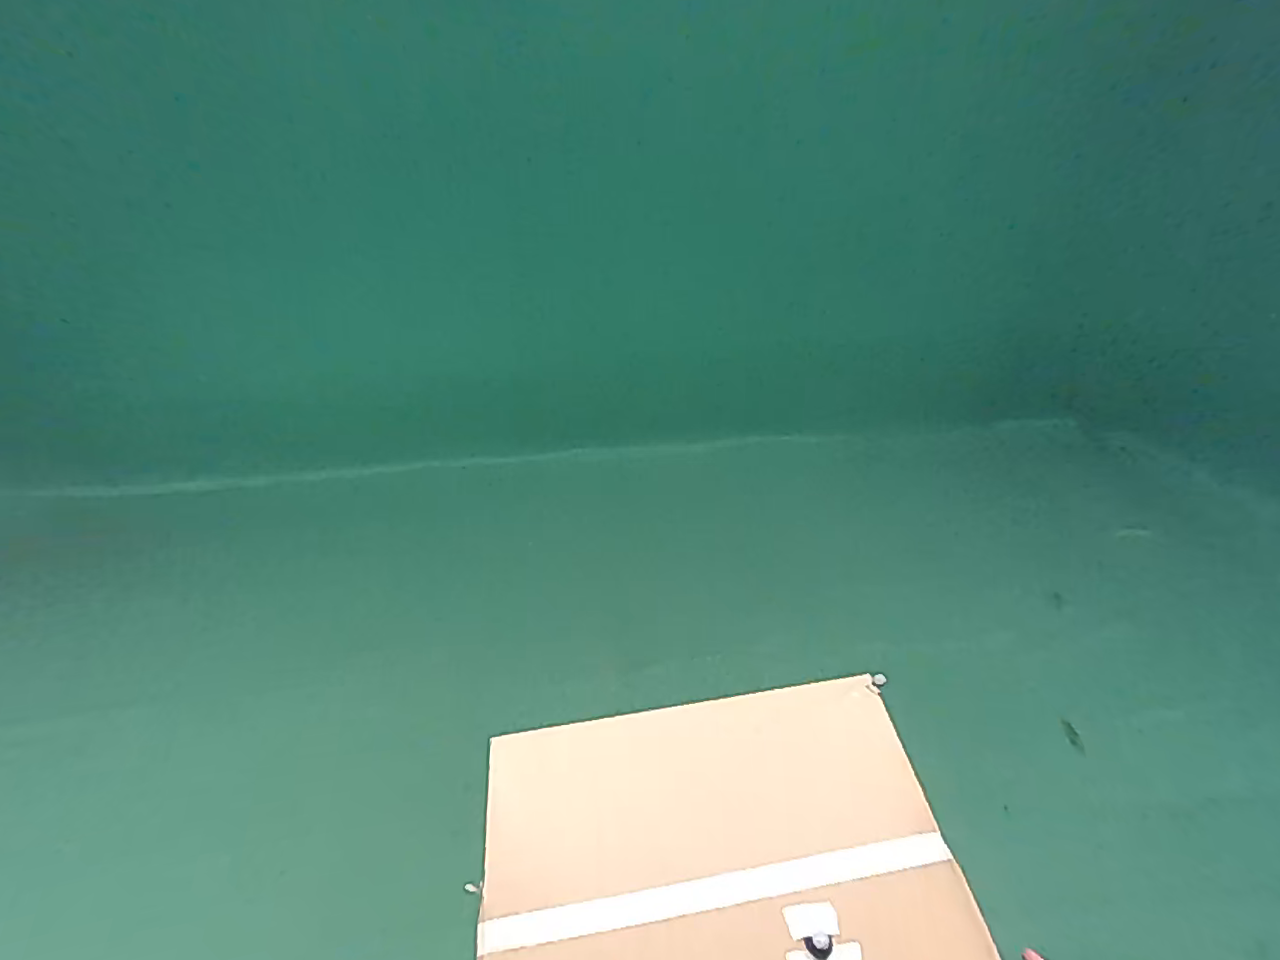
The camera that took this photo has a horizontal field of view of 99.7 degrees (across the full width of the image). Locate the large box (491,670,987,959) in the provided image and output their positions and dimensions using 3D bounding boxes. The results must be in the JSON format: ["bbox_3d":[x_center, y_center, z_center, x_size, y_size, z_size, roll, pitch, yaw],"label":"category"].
[{"bbox_3d":[0.072,0.447,0.585,0.408,0.320,0.320,-8,49,-5],"label":"large box"}]
